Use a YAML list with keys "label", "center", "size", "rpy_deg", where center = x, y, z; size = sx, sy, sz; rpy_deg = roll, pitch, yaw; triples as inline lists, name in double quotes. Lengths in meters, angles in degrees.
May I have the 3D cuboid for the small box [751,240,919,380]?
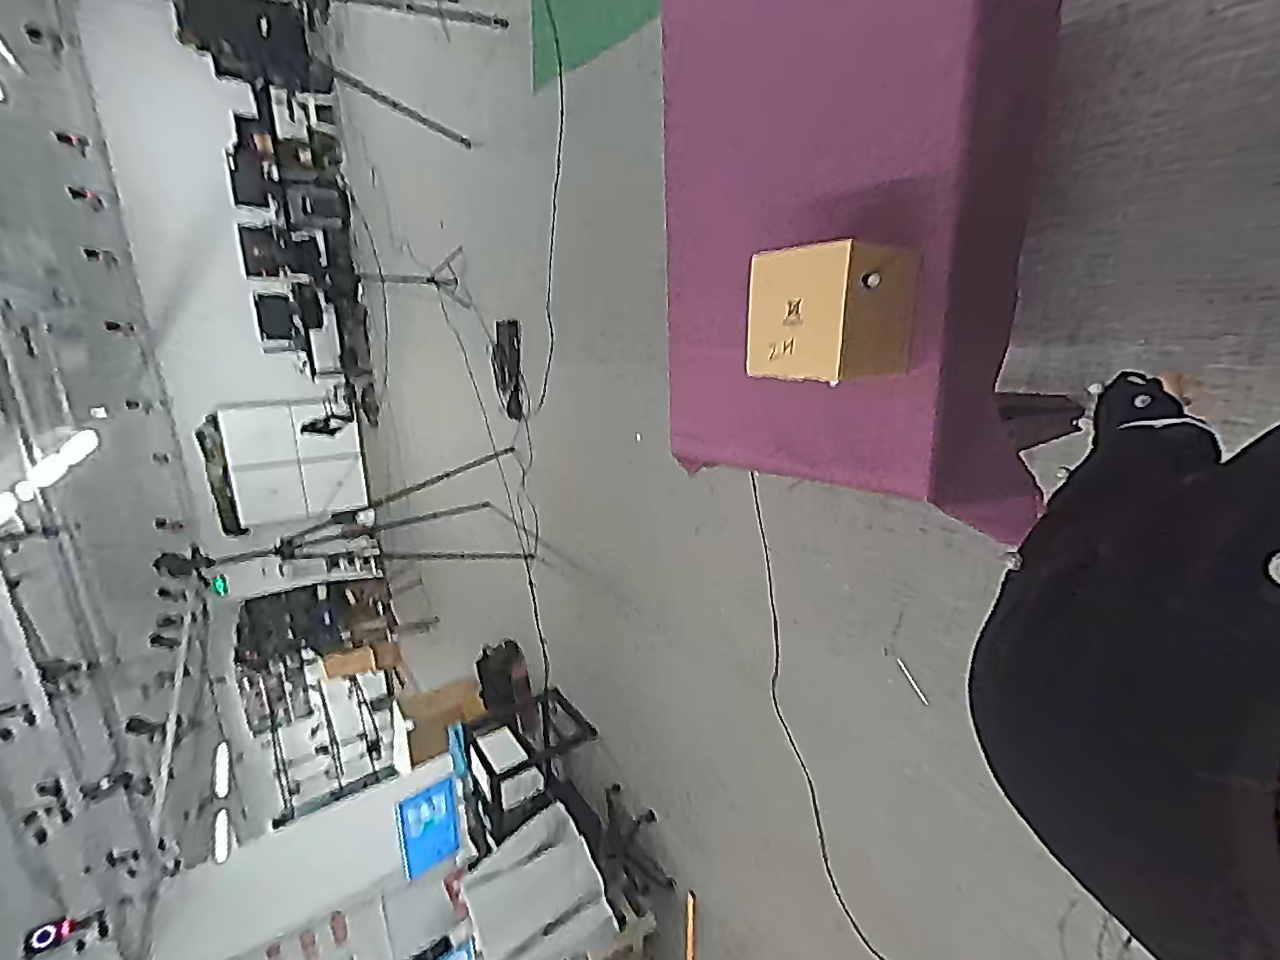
- label: "small box"
  center: [0.288, -0.245, 0.804]
  size: [0.168, 0.176, 0.179]
  rpy_deg: [20, 115, 53]
